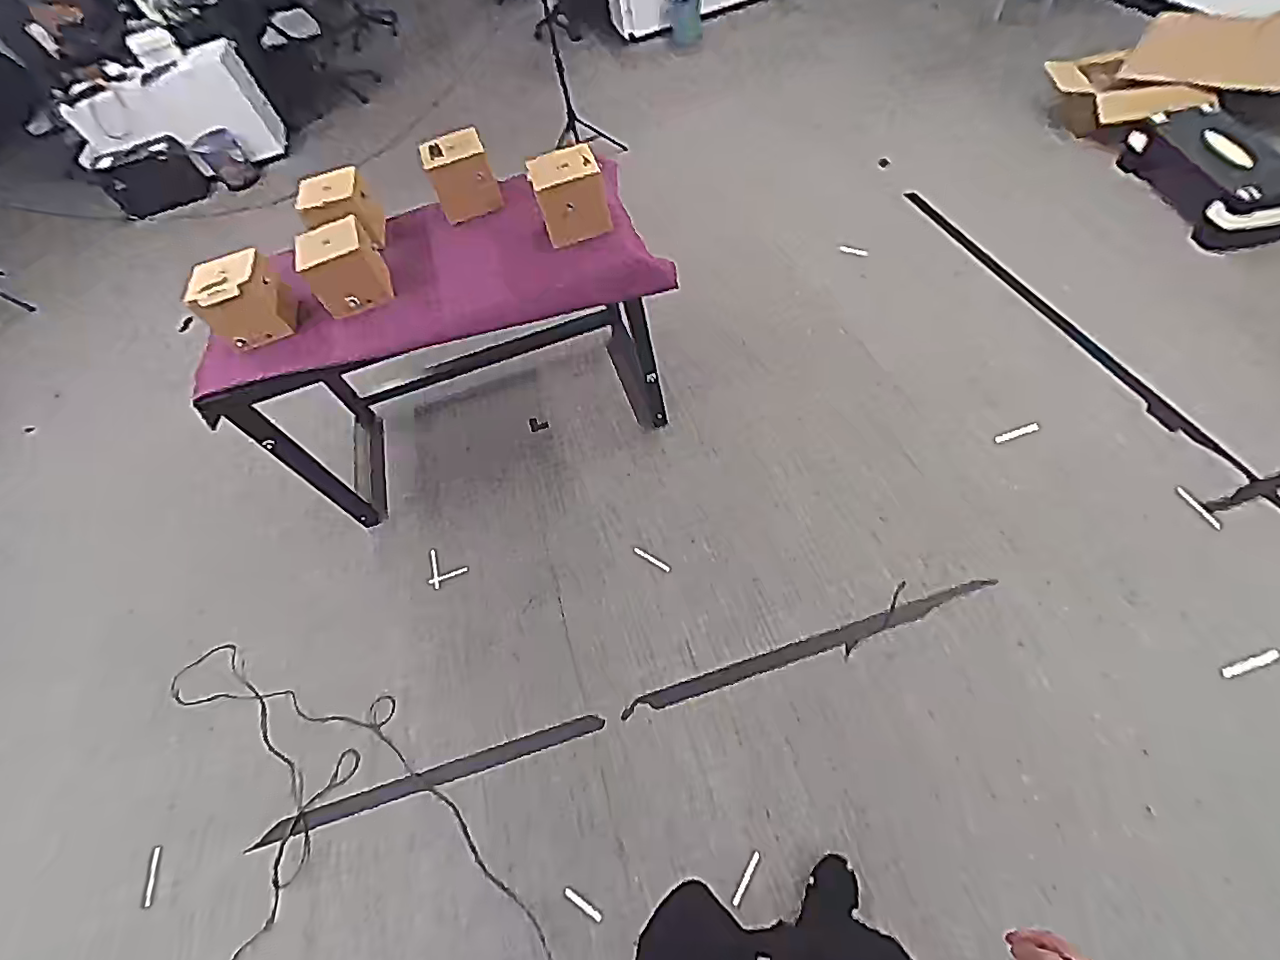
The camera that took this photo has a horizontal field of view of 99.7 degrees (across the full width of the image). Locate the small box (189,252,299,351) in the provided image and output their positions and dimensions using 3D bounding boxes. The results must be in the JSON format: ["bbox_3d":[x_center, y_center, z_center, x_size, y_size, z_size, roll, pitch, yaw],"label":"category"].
[{"bbox_3d":[-1.049,-0.469,1.450,0.168,0.176,0.179,-20,55,-3],"label":"small box"}]

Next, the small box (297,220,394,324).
[{"bbox_3d":[-0.790,-0.558,1.459,0.168,0.176,0.179,-23,56,-3],"label":"small box"}]

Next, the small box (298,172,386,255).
[{"bbox_3d":[-0.879,-0.777,1.613,0.168,0.176,0.179,-17,57,-1],"label":"small box"}]

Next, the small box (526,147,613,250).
[{"bbox_3d":[-0.189,-0.756,1.467,0.179,0.176,0.168,-19,56,0],"label":"small box"}]
